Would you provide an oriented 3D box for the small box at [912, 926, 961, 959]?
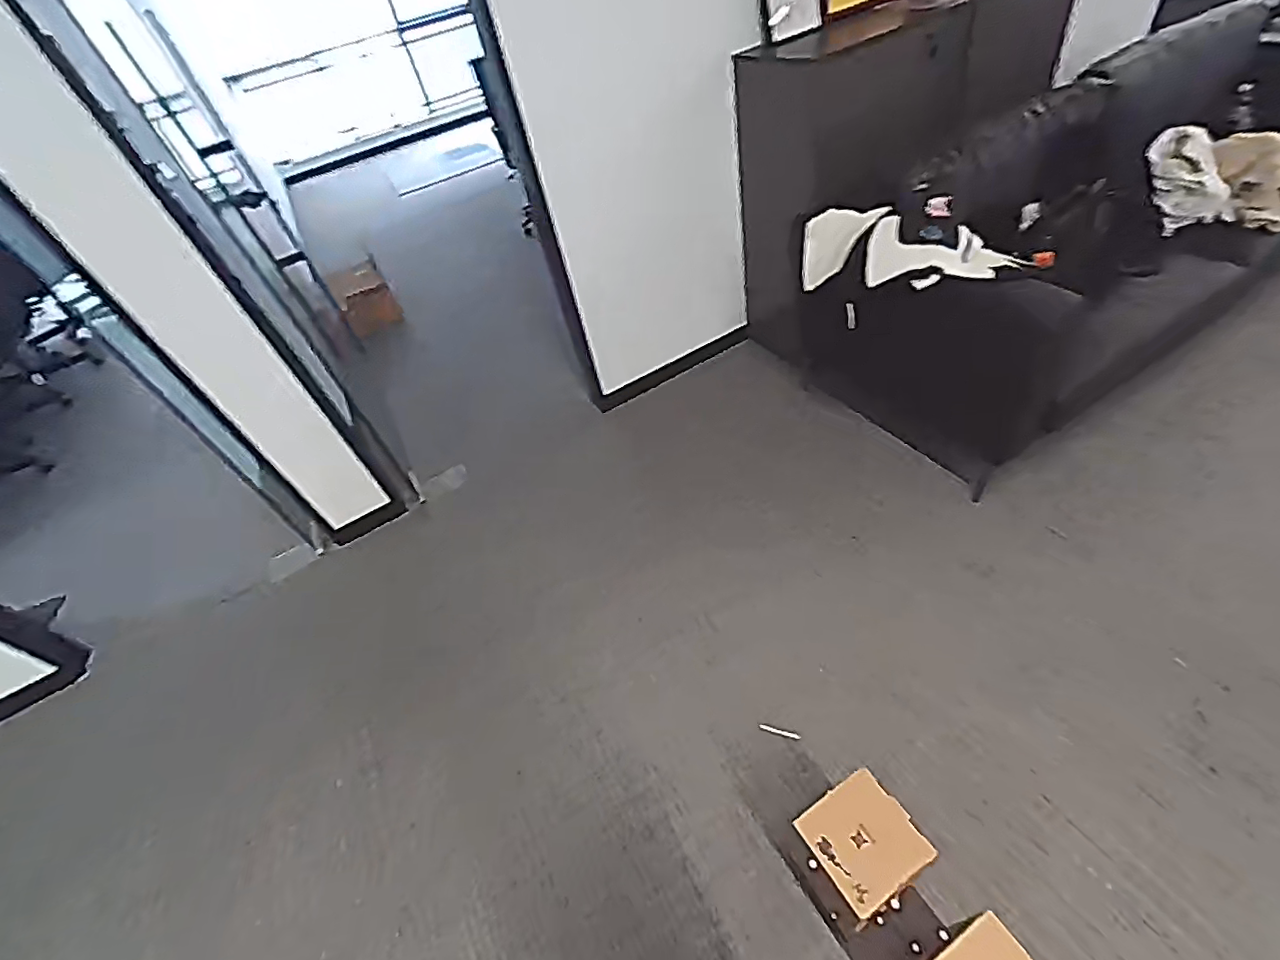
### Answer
[{"bbox_3d":[0.548,0.930,0.939,0.179,0.176,0.168,-28,46,-15],"label":"small box"}]

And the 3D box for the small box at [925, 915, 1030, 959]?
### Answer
[{"bbox_3d":[0.525,0.815,0.824,0.179,0.176,0.168,-28,46,-14],"label":"small box"}]
